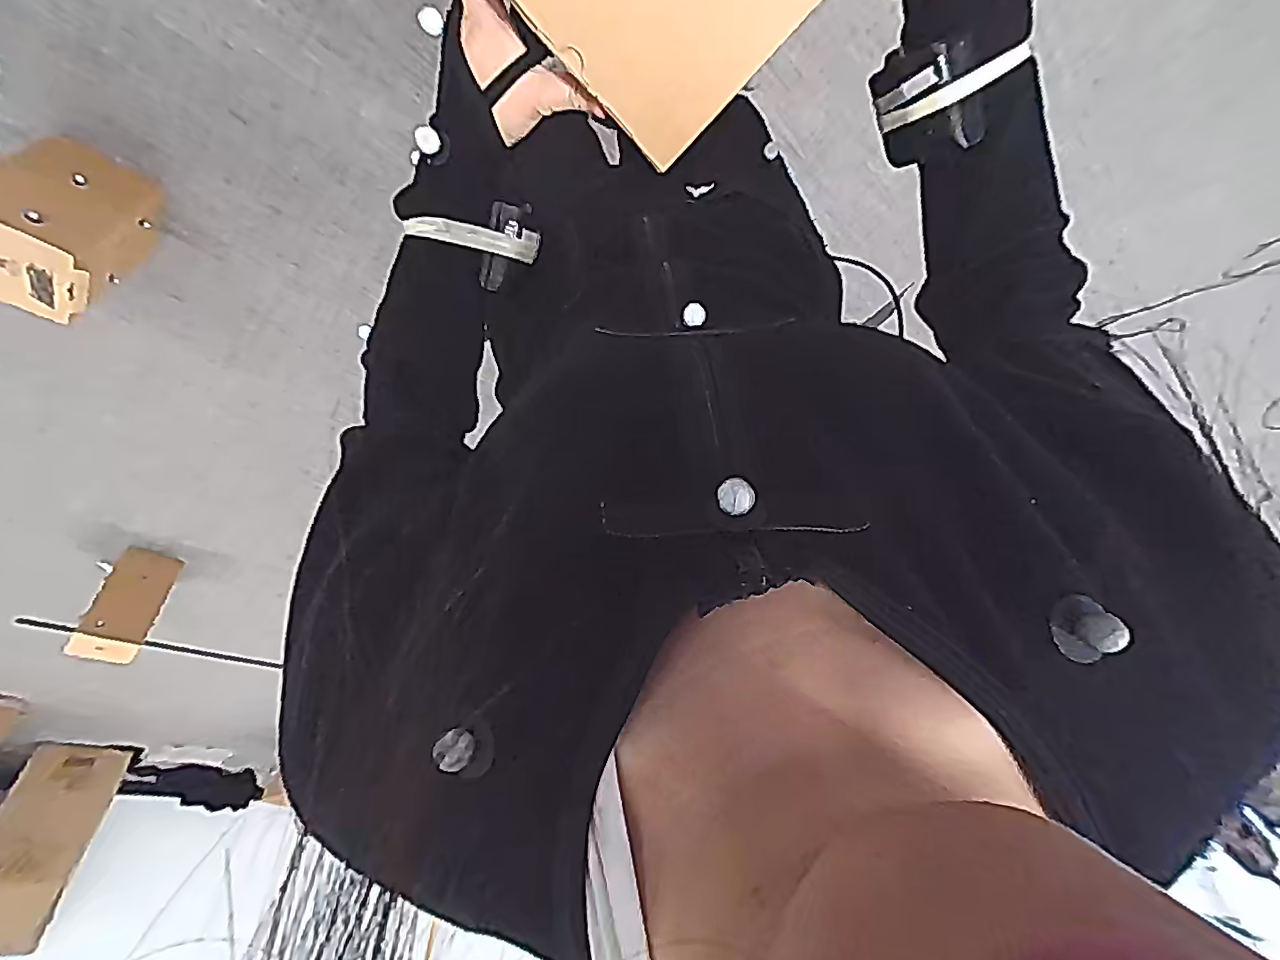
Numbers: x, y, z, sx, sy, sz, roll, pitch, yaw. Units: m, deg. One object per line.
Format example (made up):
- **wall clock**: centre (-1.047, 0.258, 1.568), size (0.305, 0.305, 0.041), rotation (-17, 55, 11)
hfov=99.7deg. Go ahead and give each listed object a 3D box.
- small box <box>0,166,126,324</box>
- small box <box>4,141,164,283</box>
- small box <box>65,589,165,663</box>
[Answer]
- **small box**: centre (-1.081, -0.425, 0.974), size (0.179, 0.176, 0.168), rotation (25, 127, -31)
- **small box**: centre (-1.107, -0.541, 1.088), size (0.179, 0.176, 0.168), rotation (24, 127, -30)
- **small box**: centre (-1.764, 0.489, 1.822), size (0.168, 0.176, 0.179), rotation (-37, 132, 27)
